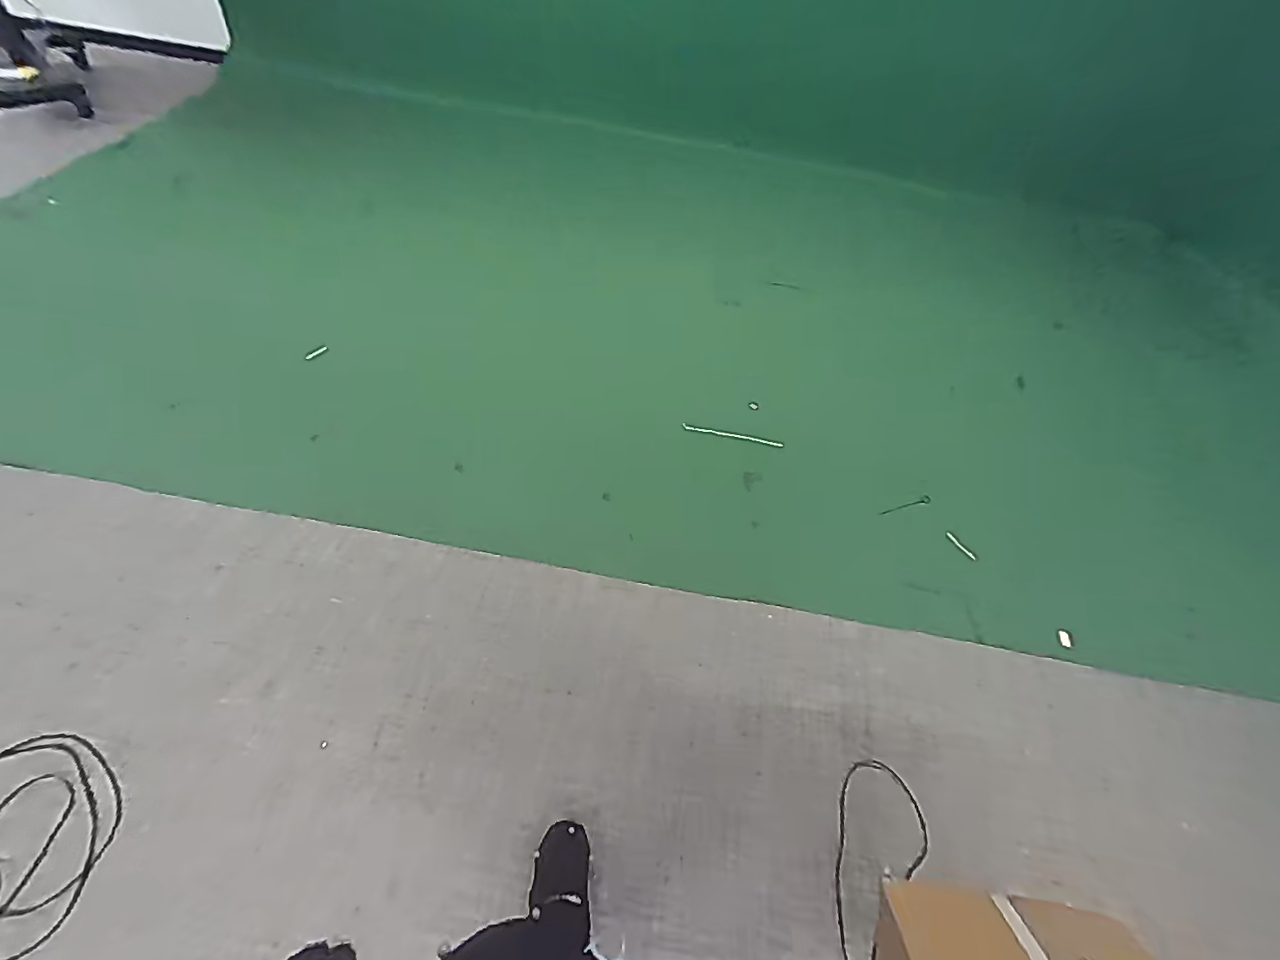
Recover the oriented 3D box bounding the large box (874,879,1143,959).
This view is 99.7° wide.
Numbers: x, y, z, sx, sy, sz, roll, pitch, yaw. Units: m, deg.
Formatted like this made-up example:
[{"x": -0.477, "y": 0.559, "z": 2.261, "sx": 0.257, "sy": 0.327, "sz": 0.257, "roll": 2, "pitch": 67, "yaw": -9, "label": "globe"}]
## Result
[{"x": 0.463, "y": 0.748, "z": 0.583, "sx": 0.320, "sy": 0.408, "sz": 0.320, "roll": 5, "pitch": 89, "yaw": 10, "label": "large box"}]
